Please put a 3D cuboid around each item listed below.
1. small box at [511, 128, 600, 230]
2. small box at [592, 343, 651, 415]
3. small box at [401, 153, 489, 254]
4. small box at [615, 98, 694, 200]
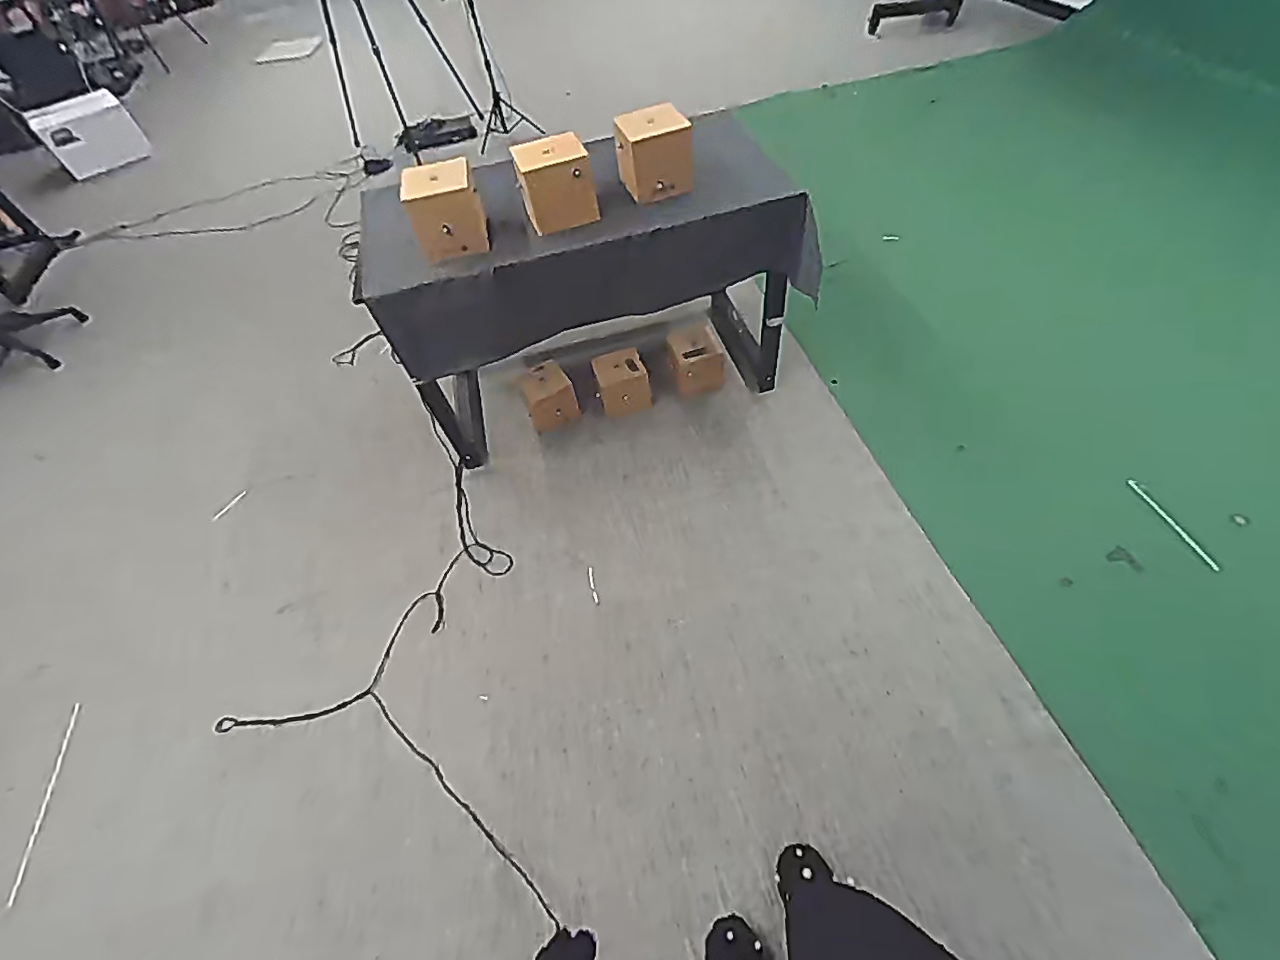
[{"bbox_3d":[-0.219,-0.784,1.416,0.179,0.176,0.168,-19,54,-7],"label":"small box"},{"bbox_3d":[-0.063,-0.370,1.996,0.179,0.176,0.168,-17,54,-4],"label":"small box"},{"bbox_3d":[-0.495,-0.701,1.389,0.168,0.176,0.179,-13,54,-3],"label":"small box"},{"bbox_3d":[0.041,-0.889,1.457,0.168,0.176,0.179,-18,54,-4],"label":"small box"}]
